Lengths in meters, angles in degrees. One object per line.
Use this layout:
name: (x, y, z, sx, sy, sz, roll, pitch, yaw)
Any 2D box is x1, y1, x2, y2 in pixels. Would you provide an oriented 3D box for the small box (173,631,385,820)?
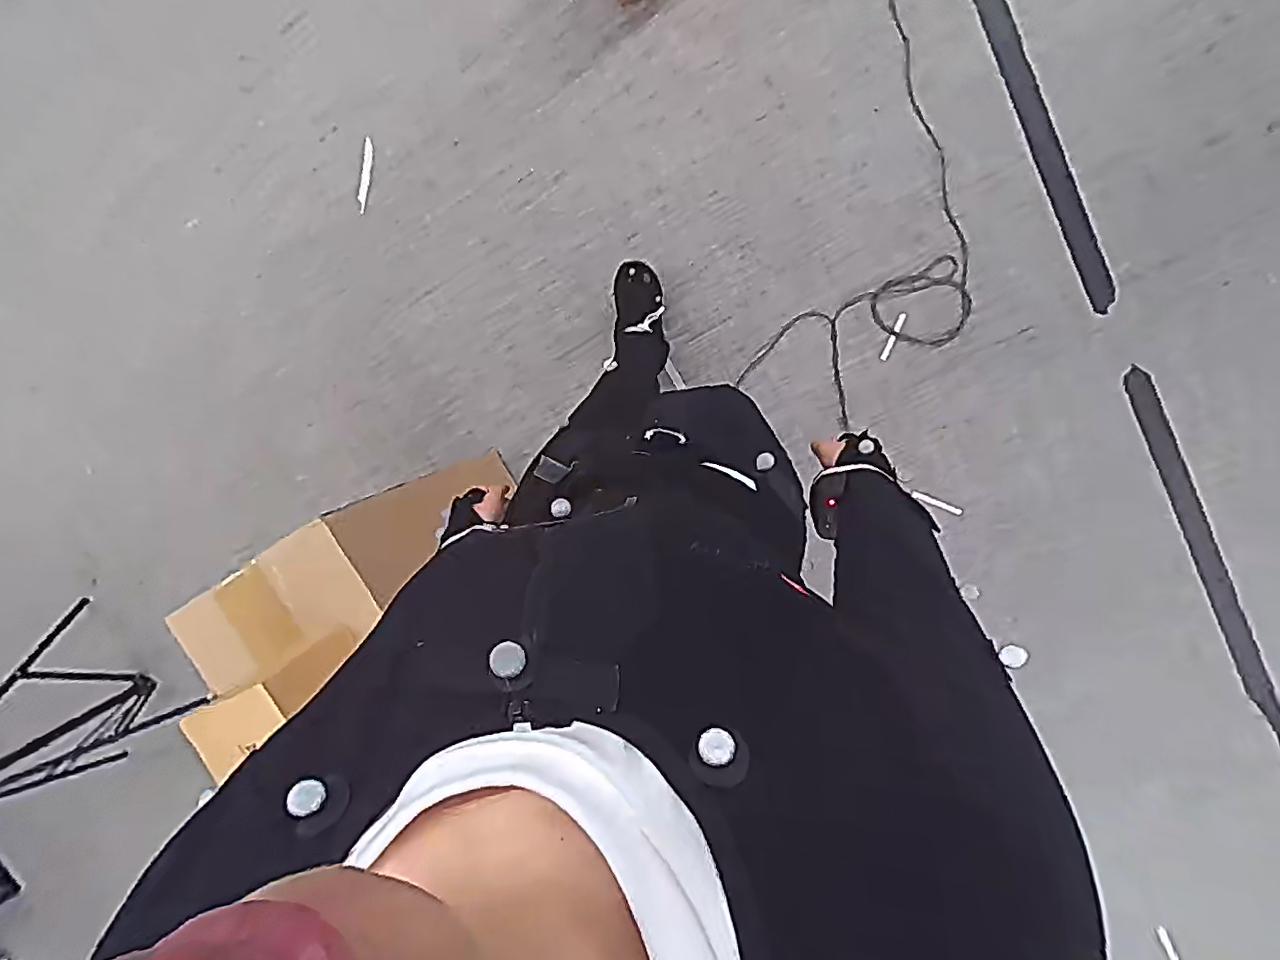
small box: (-0.516, 0.354, 0.806, 0.179, 0.176, 0.168, -26, 97, 15)
